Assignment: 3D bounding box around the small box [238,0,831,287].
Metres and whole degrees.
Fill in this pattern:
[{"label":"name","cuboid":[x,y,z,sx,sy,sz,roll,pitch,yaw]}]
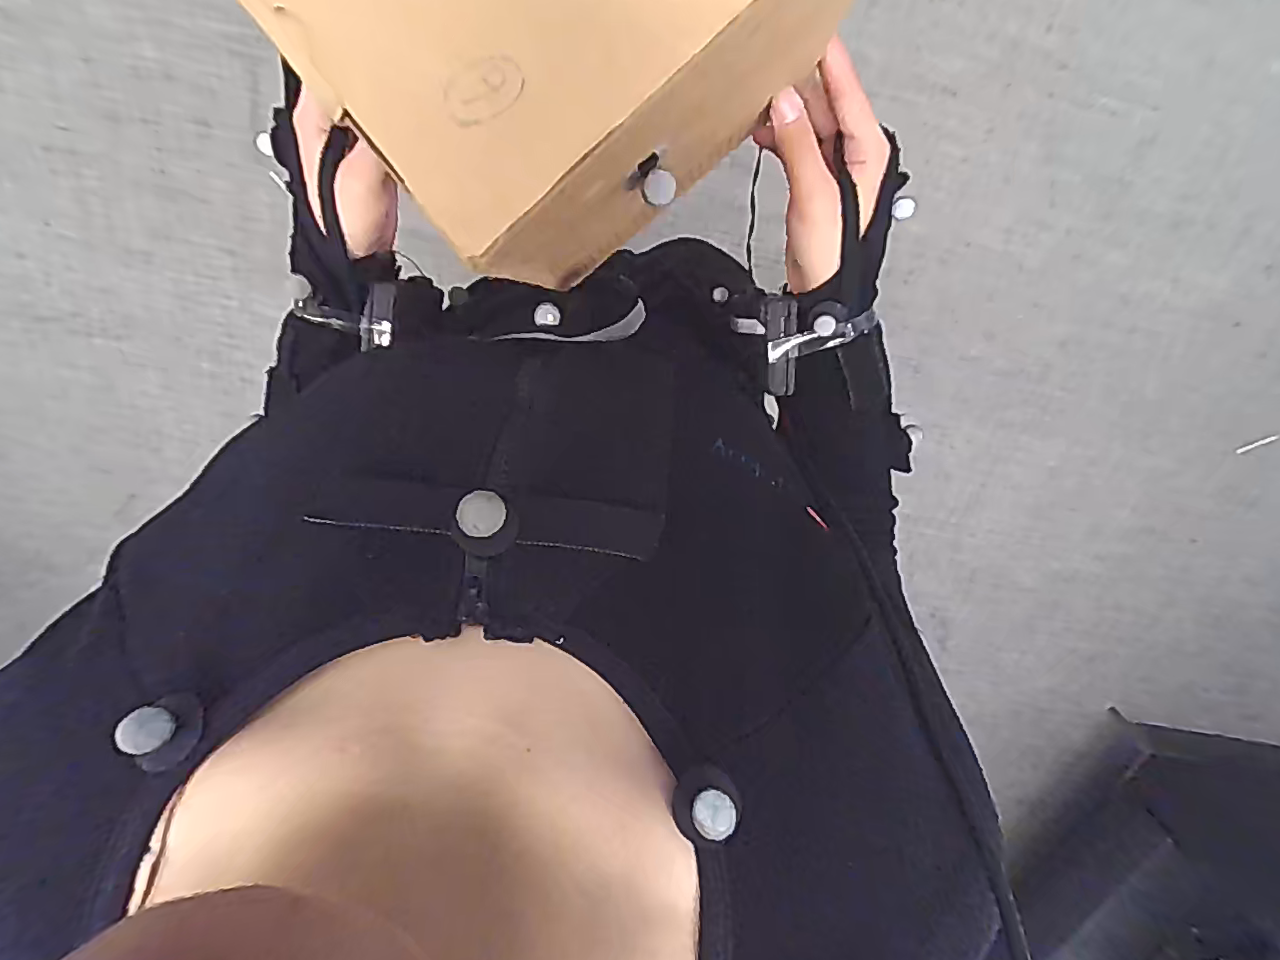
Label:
[{"label":"small box","cuboid":[-0.033,-0.201,0.226,0.179,0.176,0.168,-36,101,14]}]
